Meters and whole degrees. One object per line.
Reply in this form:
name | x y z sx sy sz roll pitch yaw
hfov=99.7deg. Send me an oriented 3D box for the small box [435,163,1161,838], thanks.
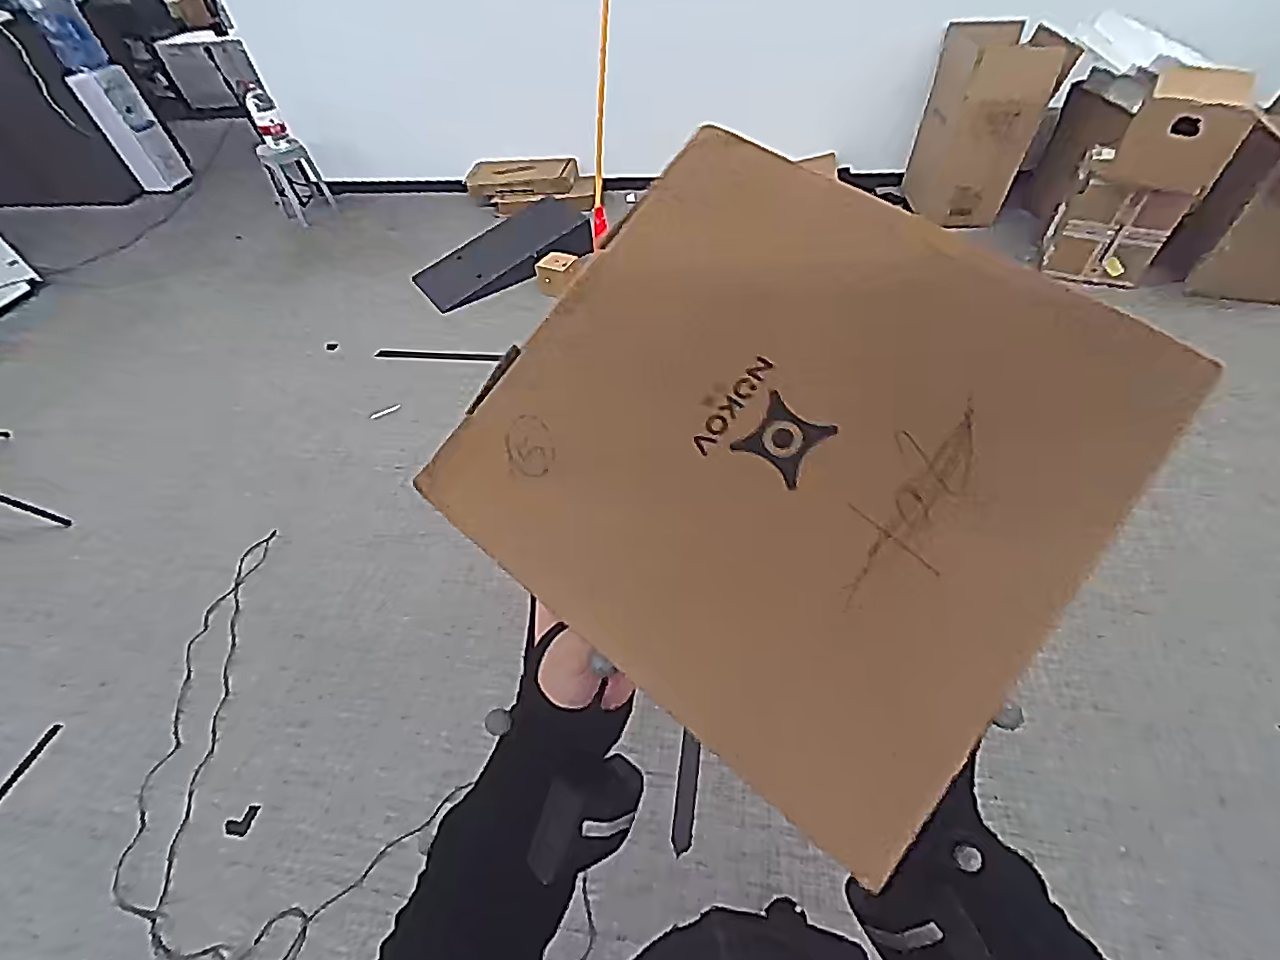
small box | 0.053 0.007 0.252 0.179 0.176 0.168 35 86 17
